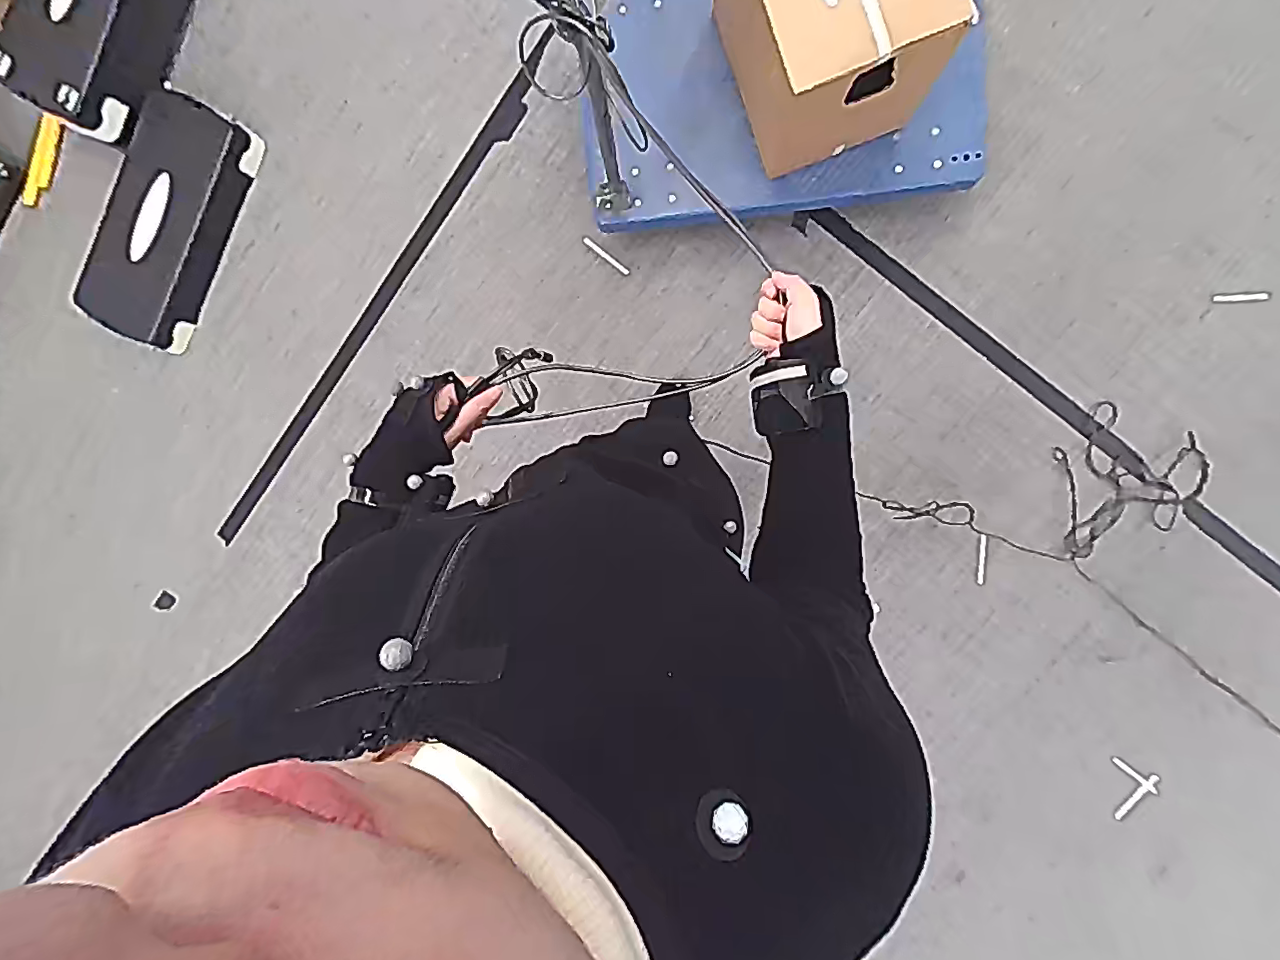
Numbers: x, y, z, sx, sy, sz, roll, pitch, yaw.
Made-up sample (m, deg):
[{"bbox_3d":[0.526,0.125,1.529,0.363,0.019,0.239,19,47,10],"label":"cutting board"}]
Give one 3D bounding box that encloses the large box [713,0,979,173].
[{"bbox_3d":[0.353,-0.899,1.029,0.320,0.320,0.408,-19,94,8],"label":"large box"}]
